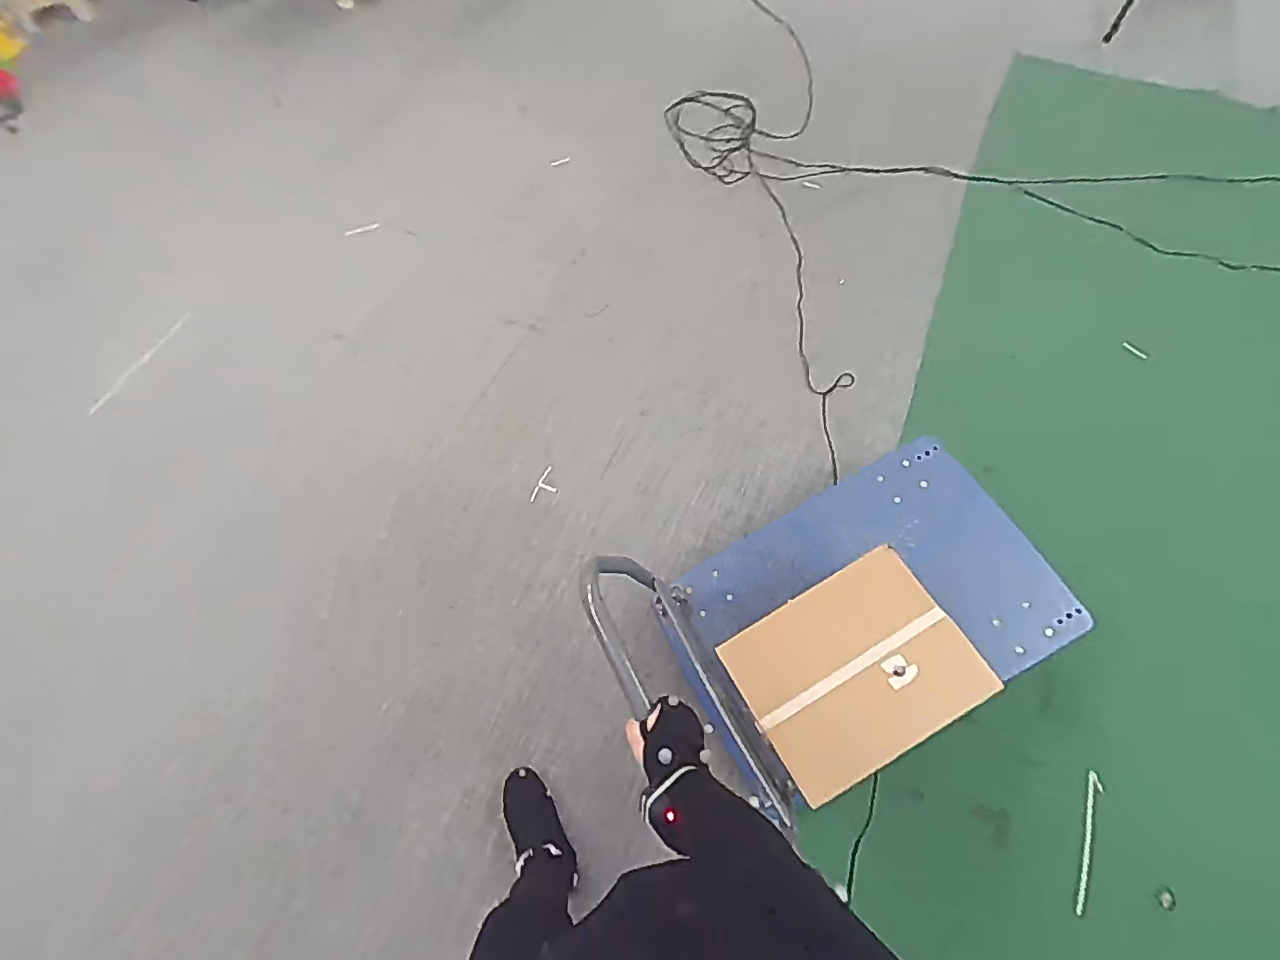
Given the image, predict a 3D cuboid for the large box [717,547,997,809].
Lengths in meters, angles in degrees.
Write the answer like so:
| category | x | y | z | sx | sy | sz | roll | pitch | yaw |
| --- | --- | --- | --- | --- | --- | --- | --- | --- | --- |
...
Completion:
| category | x | y | z | sx | sy | sz | roll | pitch | yaw |
| --- | --- | --- | --- | --- | --- | --- | --- | --- | --- |
| large box | 0.413 | 0.406 | 1.134 | 0.408 | 0.320 | 0.320 | -30 | 67 | -3 |
